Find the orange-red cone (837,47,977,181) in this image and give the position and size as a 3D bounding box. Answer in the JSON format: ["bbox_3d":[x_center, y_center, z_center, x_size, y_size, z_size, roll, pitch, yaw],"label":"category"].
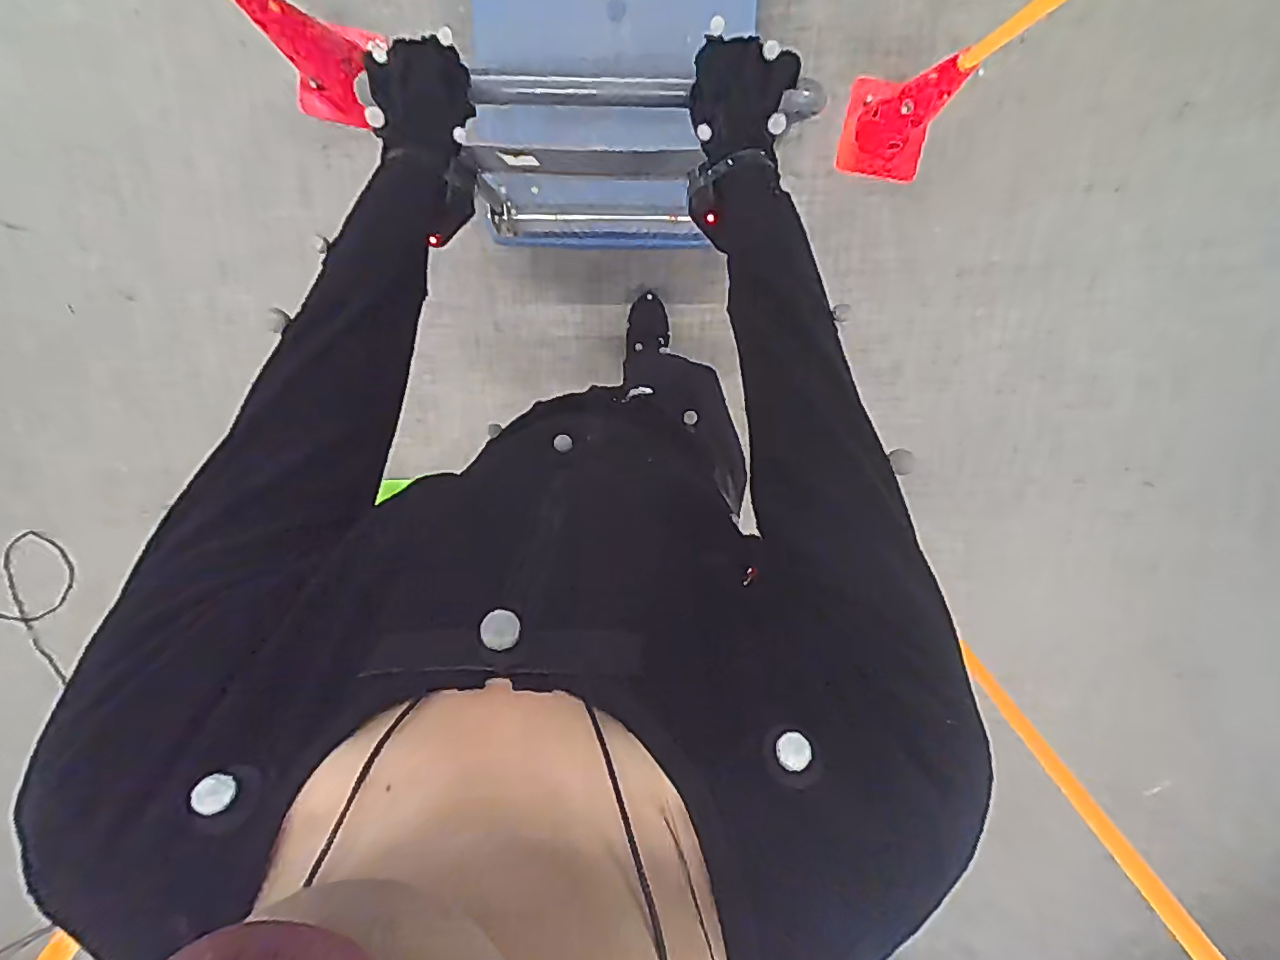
[{"bbox_3d":[0.580,-0.784,1.118,0.198,0.360,0.199,11,106,-1],"label":"orange-red cone"}]
